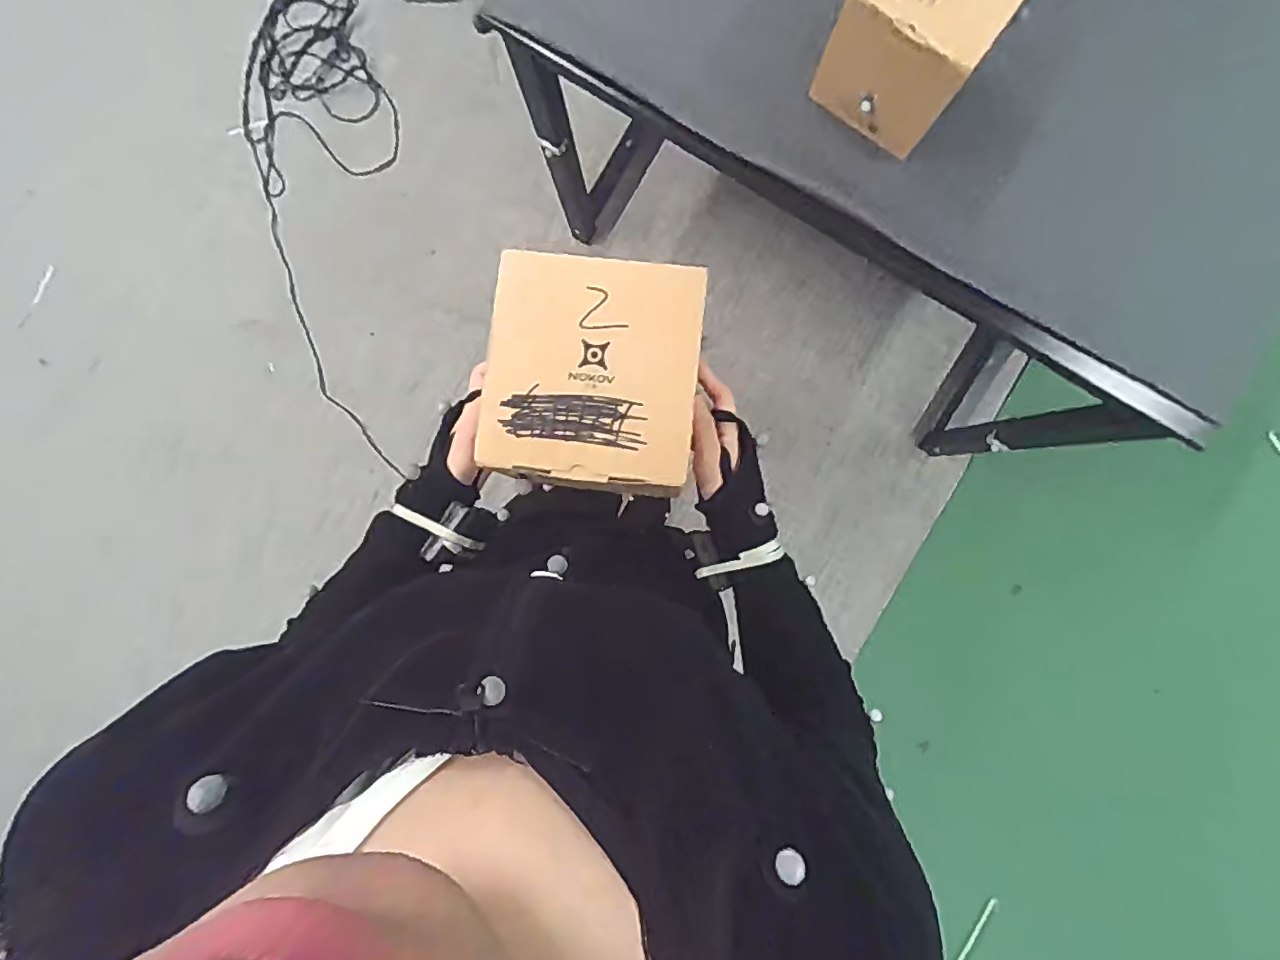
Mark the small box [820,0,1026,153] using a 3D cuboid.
[{"bbox_3d":[0.355,-0.568,0.677,0.168,0.176,0.179,36,91,1],"label":"small box"}]
